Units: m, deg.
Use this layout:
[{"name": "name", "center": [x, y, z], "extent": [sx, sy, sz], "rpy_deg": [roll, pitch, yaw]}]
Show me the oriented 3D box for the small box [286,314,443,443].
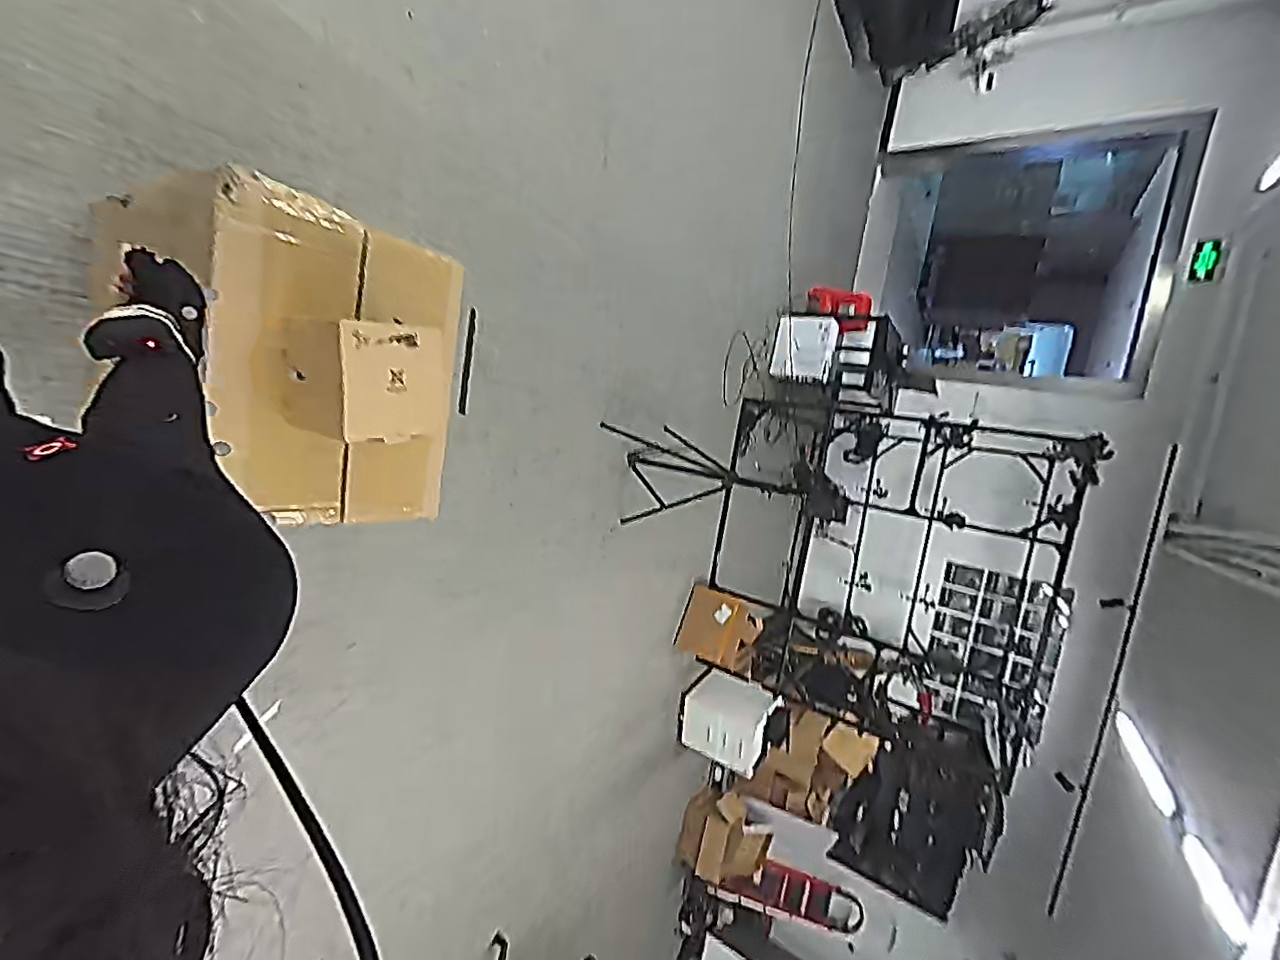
[{"name": "small box", "center": [-0.438, -0.162, 0.863], "extent": [0.168, 0.176, 0.179], "rpy_deg": [-12, 112, -54]}]
